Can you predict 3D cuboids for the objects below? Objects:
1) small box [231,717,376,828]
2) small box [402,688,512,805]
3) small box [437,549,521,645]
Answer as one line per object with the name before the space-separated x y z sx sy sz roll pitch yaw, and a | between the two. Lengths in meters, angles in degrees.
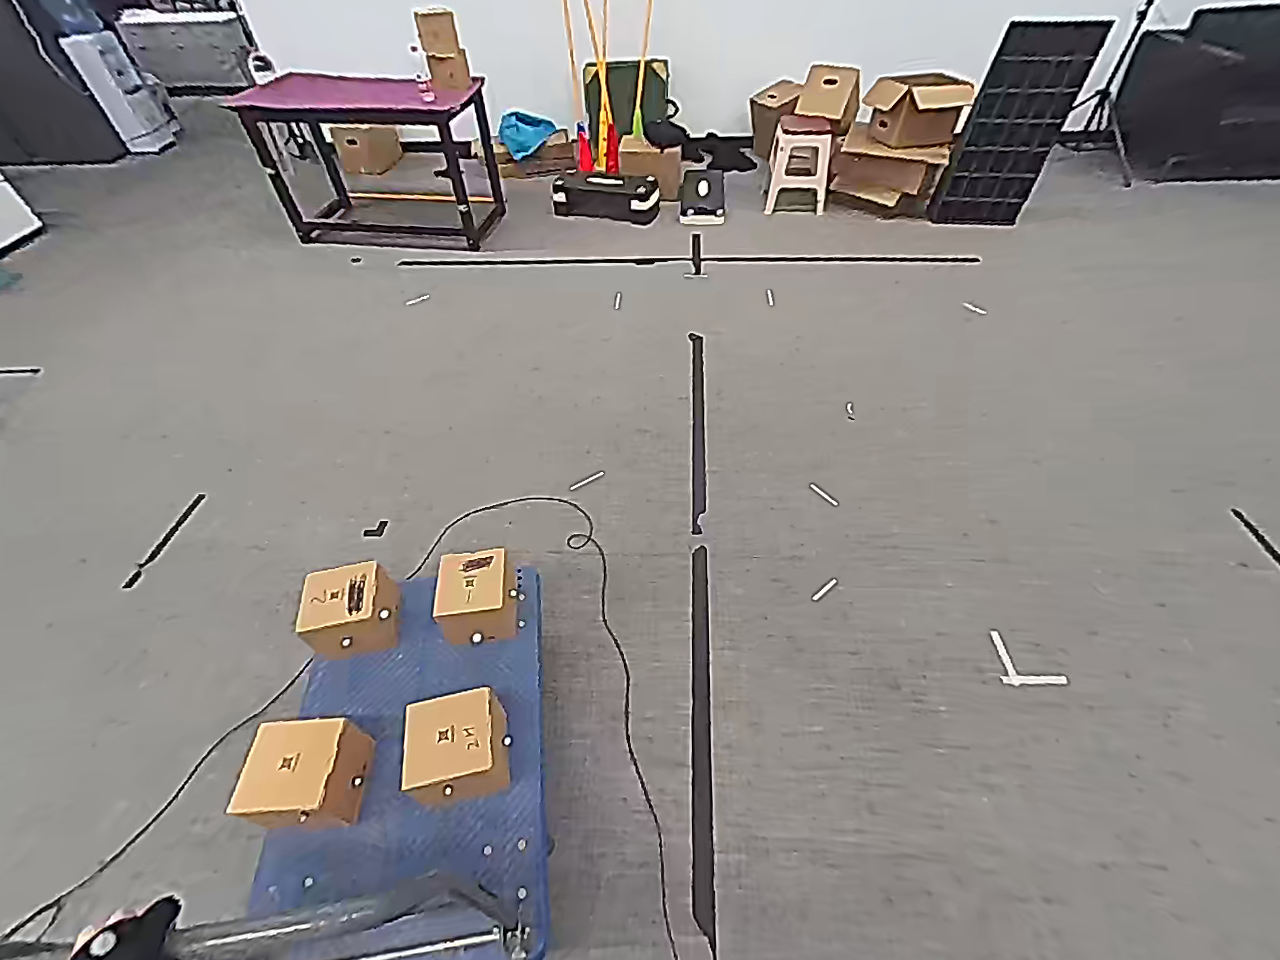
small box | -0.686 0.611 1.126 0.179 0.176 0.168 -3 48 -2
small box | -0.381 0.571 1.150 0.179 0.176 0.168 -10 49 -7
small box | -0.406 0.301 1.390 0.168 0.176 0.179 -6 50 -3
